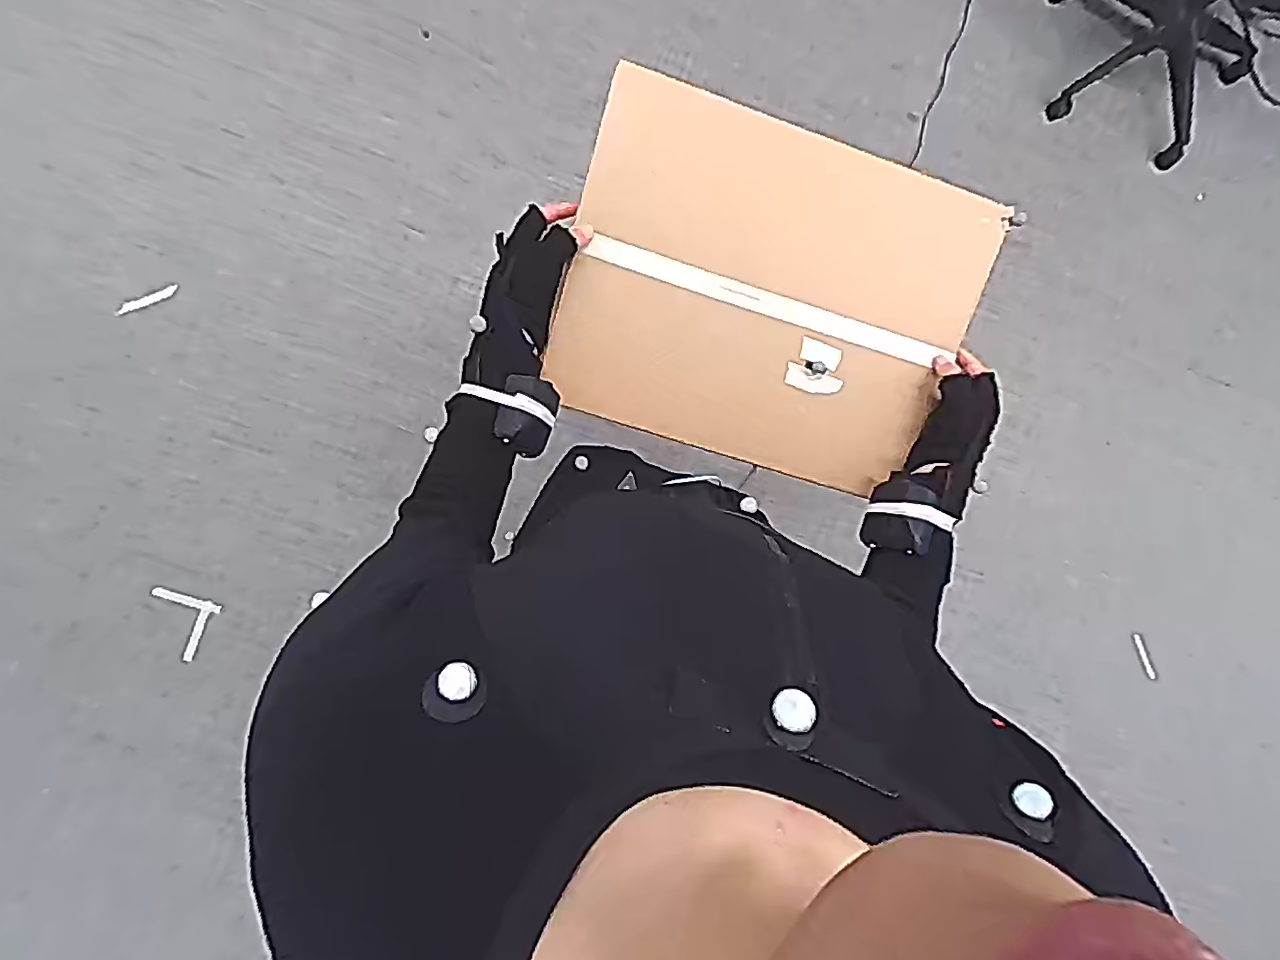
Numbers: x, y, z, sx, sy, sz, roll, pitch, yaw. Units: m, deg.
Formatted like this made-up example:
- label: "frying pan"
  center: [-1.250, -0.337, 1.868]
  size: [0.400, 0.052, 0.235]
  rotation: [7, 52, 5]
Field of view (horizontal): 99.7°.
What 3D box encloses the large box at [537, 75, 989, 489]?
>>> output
- label: "large box"
  center: [0.112, -0.214, 0.696]
  size: [0.408, 0.320, 0.320]
  rotation: [16, 102, -7]
